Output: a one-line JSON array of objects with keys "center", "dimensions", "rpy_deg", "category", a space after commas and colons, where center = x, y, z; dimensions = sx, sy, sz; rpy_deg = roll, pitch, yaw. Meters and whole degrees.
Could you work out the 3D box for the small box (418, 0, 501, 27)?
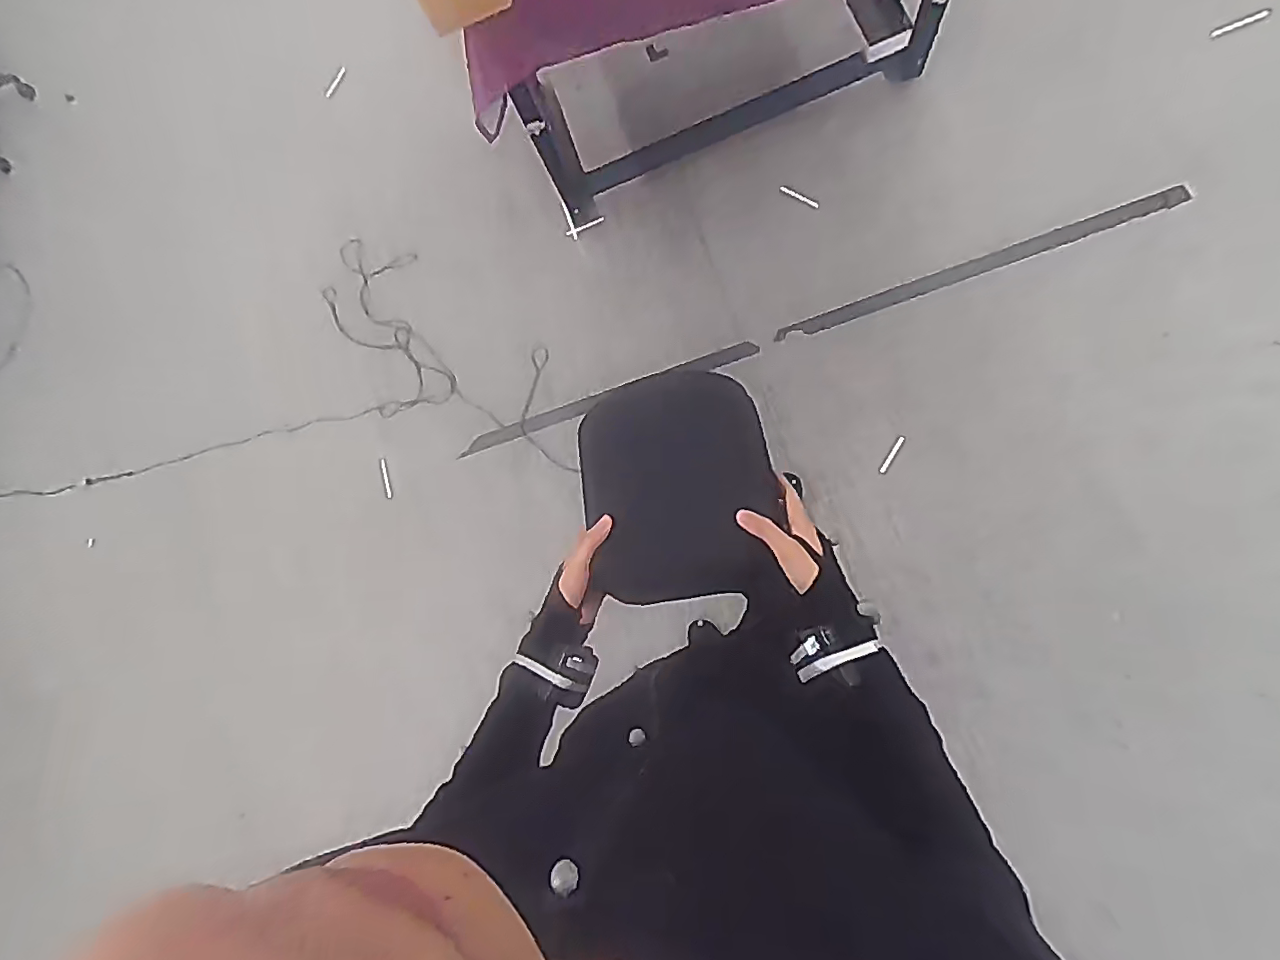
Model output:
[{"center": [-0.379, -1.040, 1.045], "dimensions": [0.179, 0.176, 0.168], "rpy_deg": [-17, 79, 7], "category": "small box"}]
